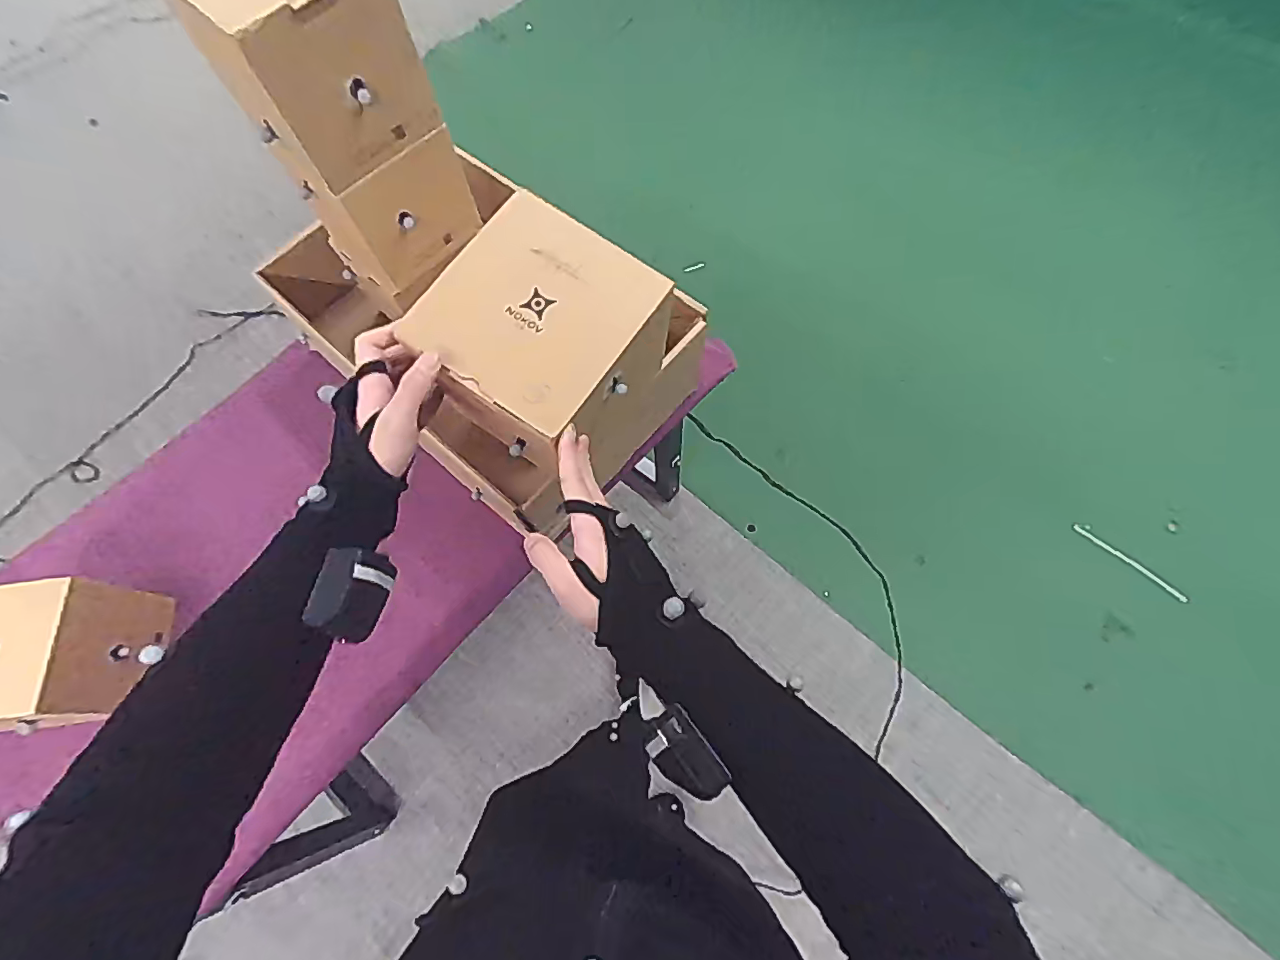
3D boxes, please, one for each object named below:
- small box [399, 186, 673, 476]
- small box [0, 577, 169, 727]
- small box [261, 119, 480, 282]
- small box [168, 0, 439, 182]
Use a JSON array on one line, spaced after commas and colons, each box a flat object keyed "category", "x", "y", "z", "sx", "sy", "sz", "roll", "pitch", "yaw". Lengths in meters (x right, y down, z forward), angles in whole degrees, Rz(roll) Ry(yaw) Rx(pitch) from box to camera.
[{"category": "small box", "x": -0.086, "y": -0.127, "z": 0.527, "sx": 0.168, "sy": 0.176, "sz": 0.179, "roll": 36, "pitch": 78, "yaw": 6}, {"category": "small box", "x": -0.794, "y": 0.234, "z": 0.724, "sx": 0.179, "sy": 0.176, "sz": 0.168, "roll": -7, "pitch": 67, "yaw": -1}, {"category": "small box", "x": -0.349, "y": -0.403, "z": 0.739, "sx": 0.179, "sy": 0.176, "sz": 0.168, "roll": 41, "pitch": 75, "yaw": 15}, {"category": "small box", "x": -0.354, "y": -0.464, "z": 0.586, "sx": 0.179, "sy": 0.176, "sz": 0.168, "roll": 41, "pitch": 75, "yaw": 14}]
